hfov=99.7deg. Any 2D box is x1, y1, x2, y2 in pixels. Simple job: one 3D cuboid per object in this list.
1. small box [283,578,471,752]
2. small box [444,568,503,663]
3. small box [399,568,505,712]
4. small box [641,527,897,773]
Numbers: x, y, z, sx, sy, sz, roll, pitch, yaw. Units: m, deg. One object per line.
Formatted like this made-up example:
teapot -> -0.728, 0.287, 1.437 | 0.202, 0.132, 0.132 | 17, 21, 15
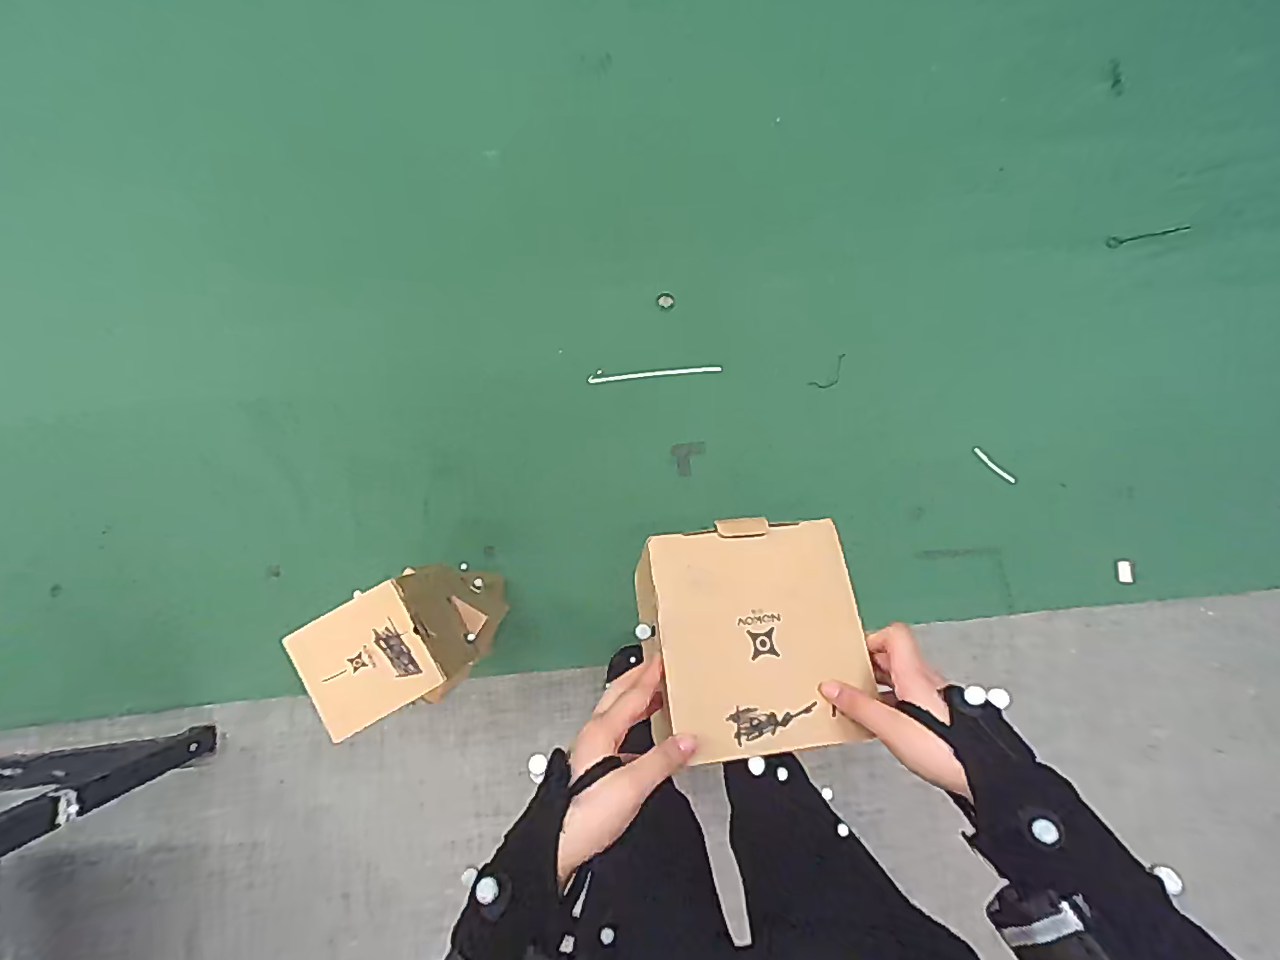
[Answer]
small box -> -0.376, 0.262, 0.817 | 0.179, 0.176, 0.168 | -29, 86, -2
small box -> -0.400, 0.291, 1.143 | 0.168, 0.176, 0.179 | 10, 84, 1
small box -> -0.368, 0.277, 0.981 | 0.168, 0.176, 0.179 | 31, 84, 1
small box -> 0.097, 0.155, 0.500 | 0.168, 0.176, 0.179 | -5, 69, -7
